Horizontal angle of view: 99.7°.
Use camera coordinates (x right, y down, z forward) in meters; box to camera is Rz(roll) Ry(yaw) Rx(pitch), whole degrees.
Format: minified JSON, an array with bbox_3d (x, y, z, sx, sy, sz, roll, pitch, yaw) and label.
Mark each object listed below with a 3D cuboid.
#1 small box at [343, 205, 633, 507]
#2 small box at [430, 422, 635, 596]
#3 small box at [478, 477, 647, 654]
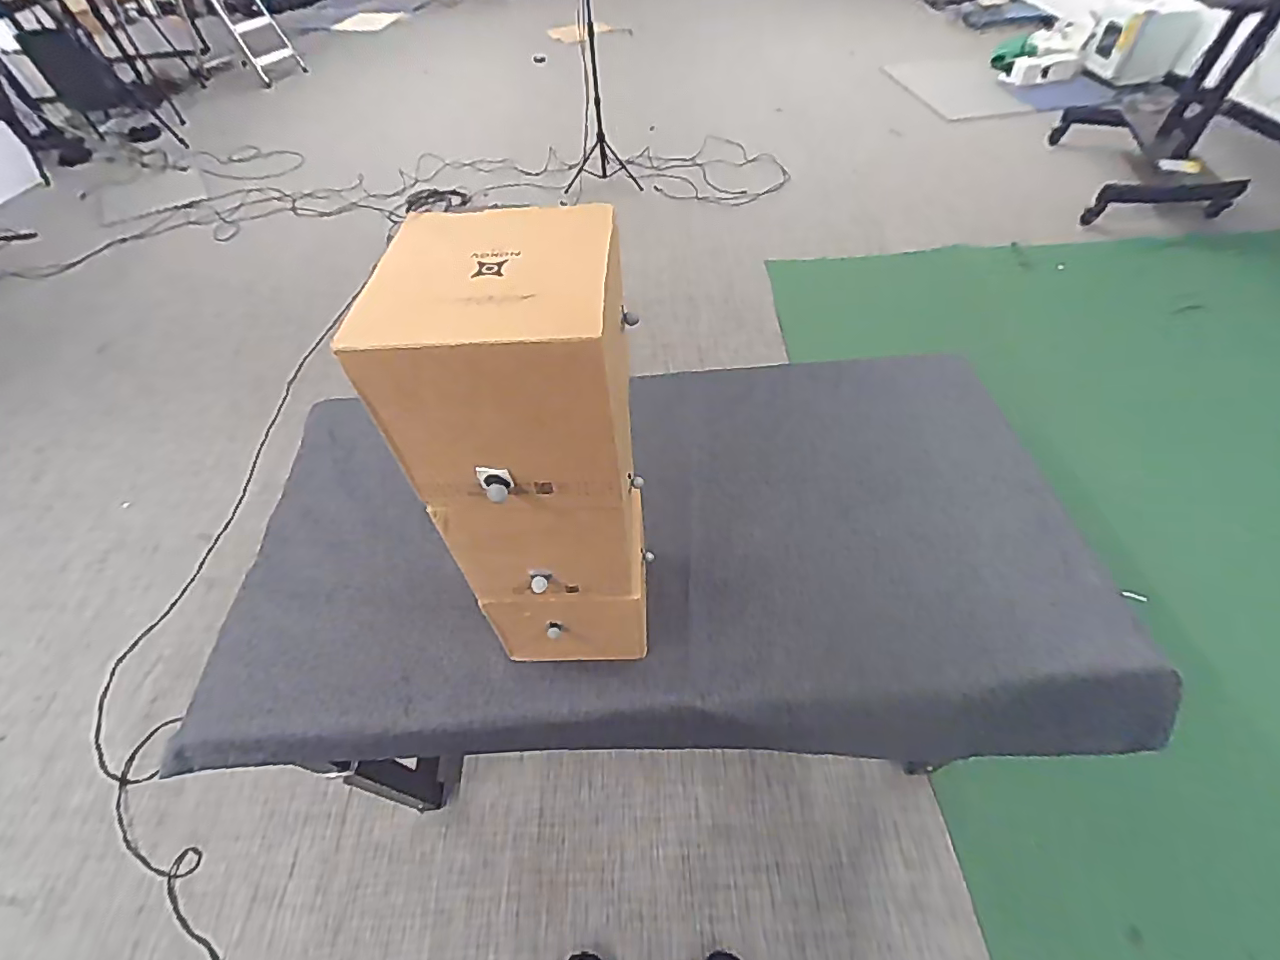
[{"bbox_3d":[-0.095,-0.096,0.437,0.168,0.176,0.179,-2,52,3],"label":"small box"},{"bbox_3d":[-0.092,0.004,0.564,0.168,0.176,0.179,-1,51,2],"label":"small box"},{"bbox_3d":[-0.083,0.112,0.687,0.179,0.176,0.168,-1,51,2],"label":"small box"}]
